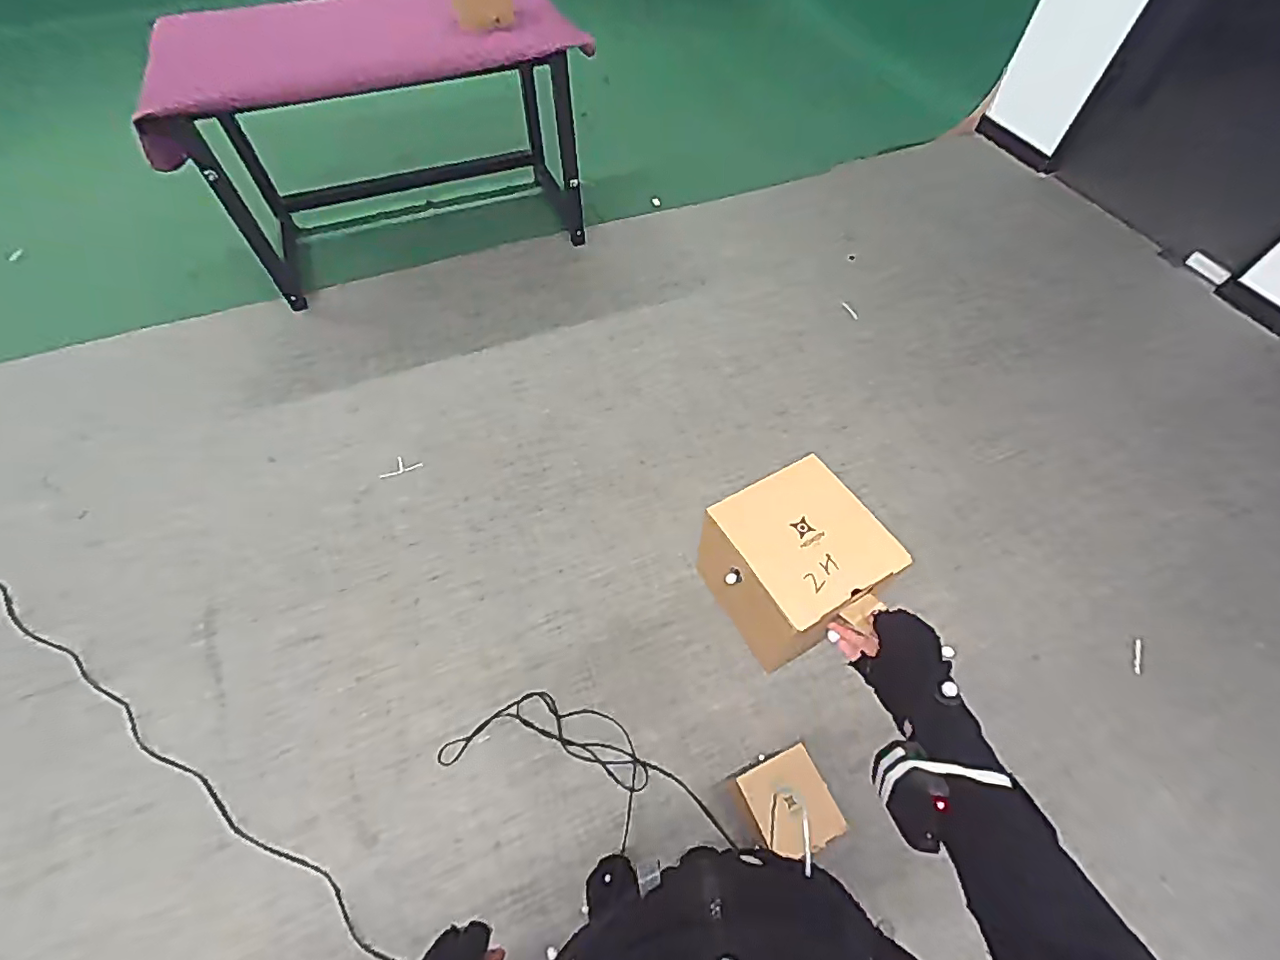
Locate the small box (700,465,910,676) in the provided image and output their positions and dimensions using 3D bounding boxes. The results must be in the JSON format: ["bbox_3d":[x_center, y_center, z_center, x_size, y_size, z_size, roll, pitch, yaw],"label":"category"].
[{"bbox_3d":[0.190,0.118,0.688,0.168,0.176,0.179,-25,60,-15],"label":"small box"}]

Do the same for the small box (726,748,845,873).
[{"bbox_3d":[0.304,0.707,1.168,0.168,0.176,0.179,-20,60,-14],"label":"small box"}]
